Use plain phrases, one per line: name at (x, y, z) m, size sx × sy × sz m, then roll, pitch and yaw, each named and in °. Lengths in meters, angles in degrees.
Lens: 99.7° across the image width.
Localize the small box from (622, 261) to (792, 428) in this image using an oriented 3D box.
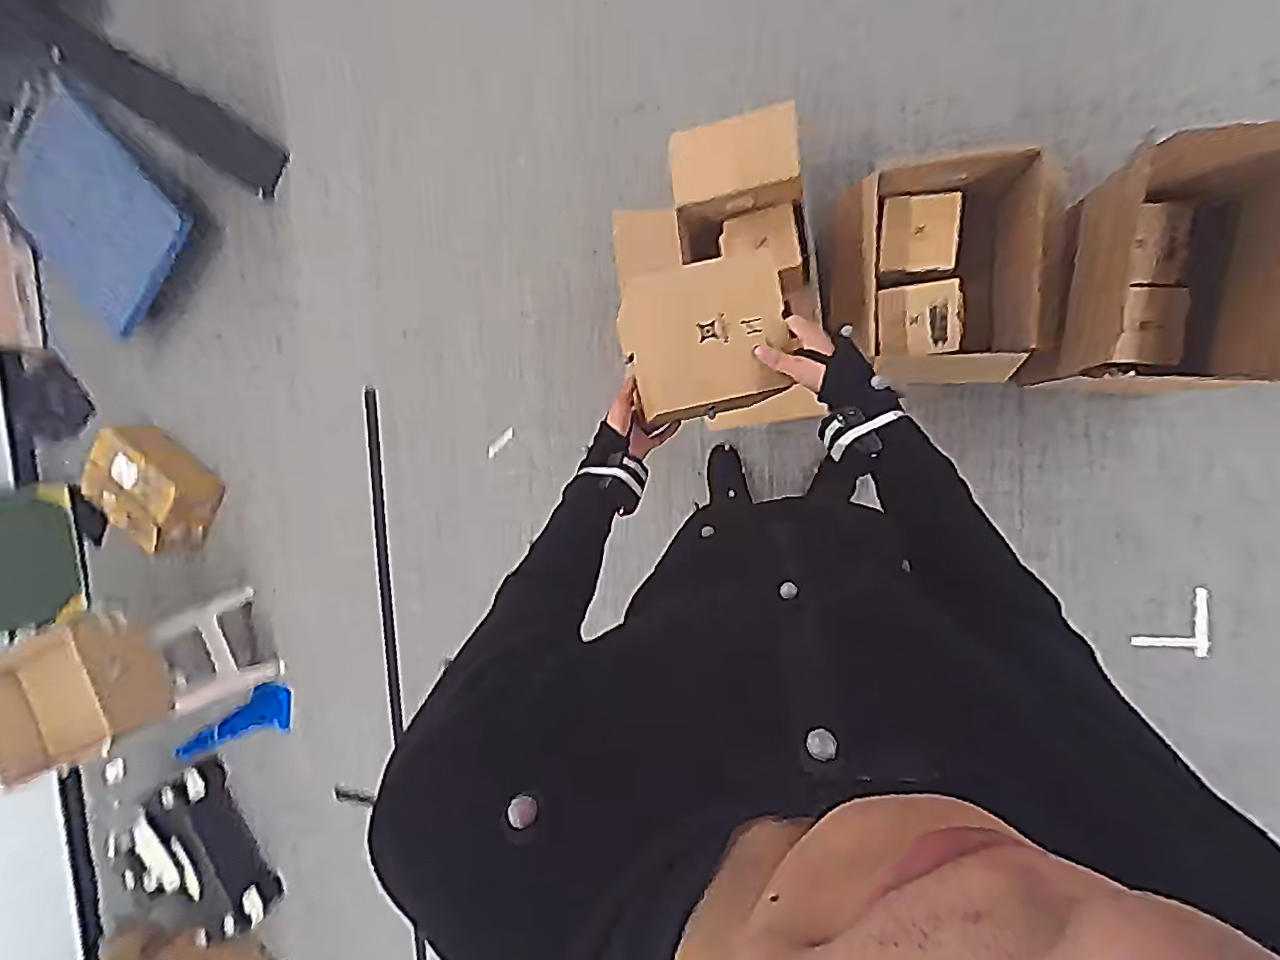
small box at (0.076, -0.169, 0.724) m, size 0.179 × 0.176 × 0.168 m, roll -12°, pitch 91°, yaw -9°
